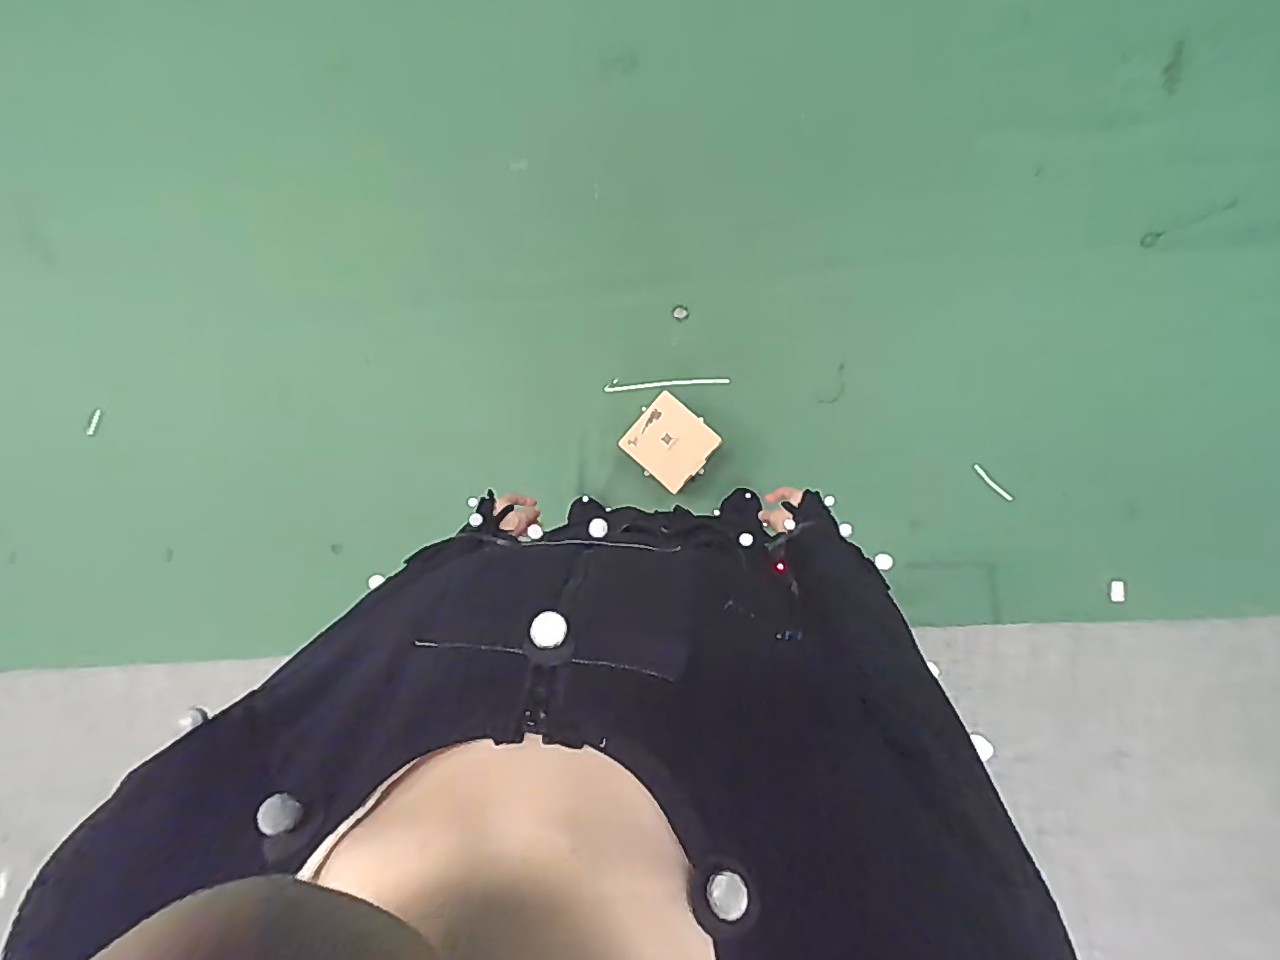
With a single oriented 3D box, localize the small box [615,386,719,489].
[{"bbox_3d":[0.067,-0.098,1.282,0.179,0.176,0.168,42,93,3],"label":"small box"}]
